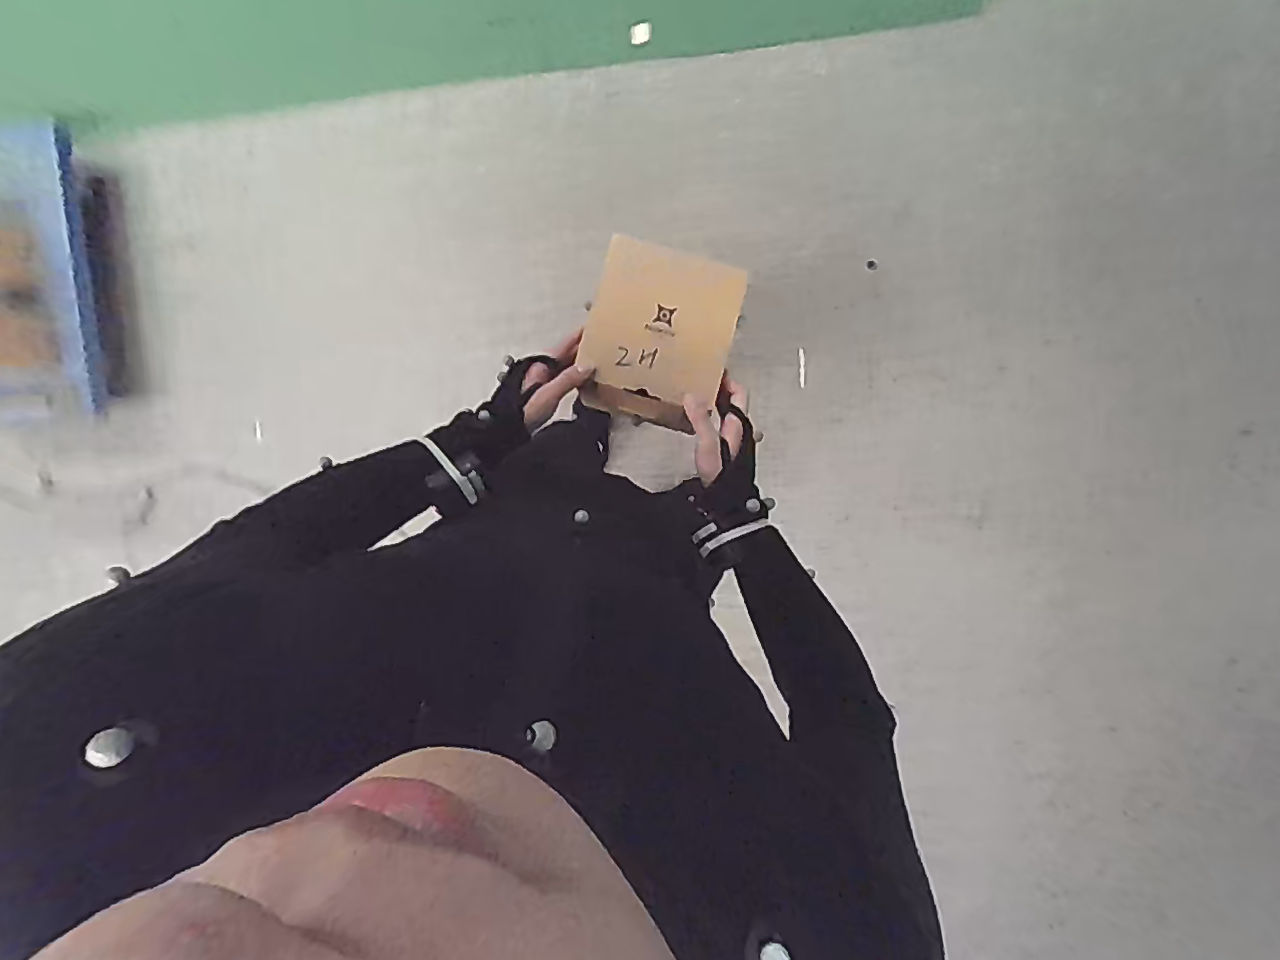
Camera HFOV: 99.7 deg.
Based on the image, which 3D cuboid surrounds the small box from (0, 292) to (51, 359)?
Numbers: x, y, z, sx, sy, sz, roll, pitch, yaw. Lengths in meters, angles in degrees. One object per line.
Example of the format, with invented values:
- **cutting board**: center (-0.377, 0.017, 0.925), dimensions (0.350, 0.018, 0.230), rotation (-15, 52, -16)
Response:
- **small box**: center (-1.837, -0.440, 1.534), dimensions (0.179, 0.176, 0.168), rotation (-3, 96, 6)
